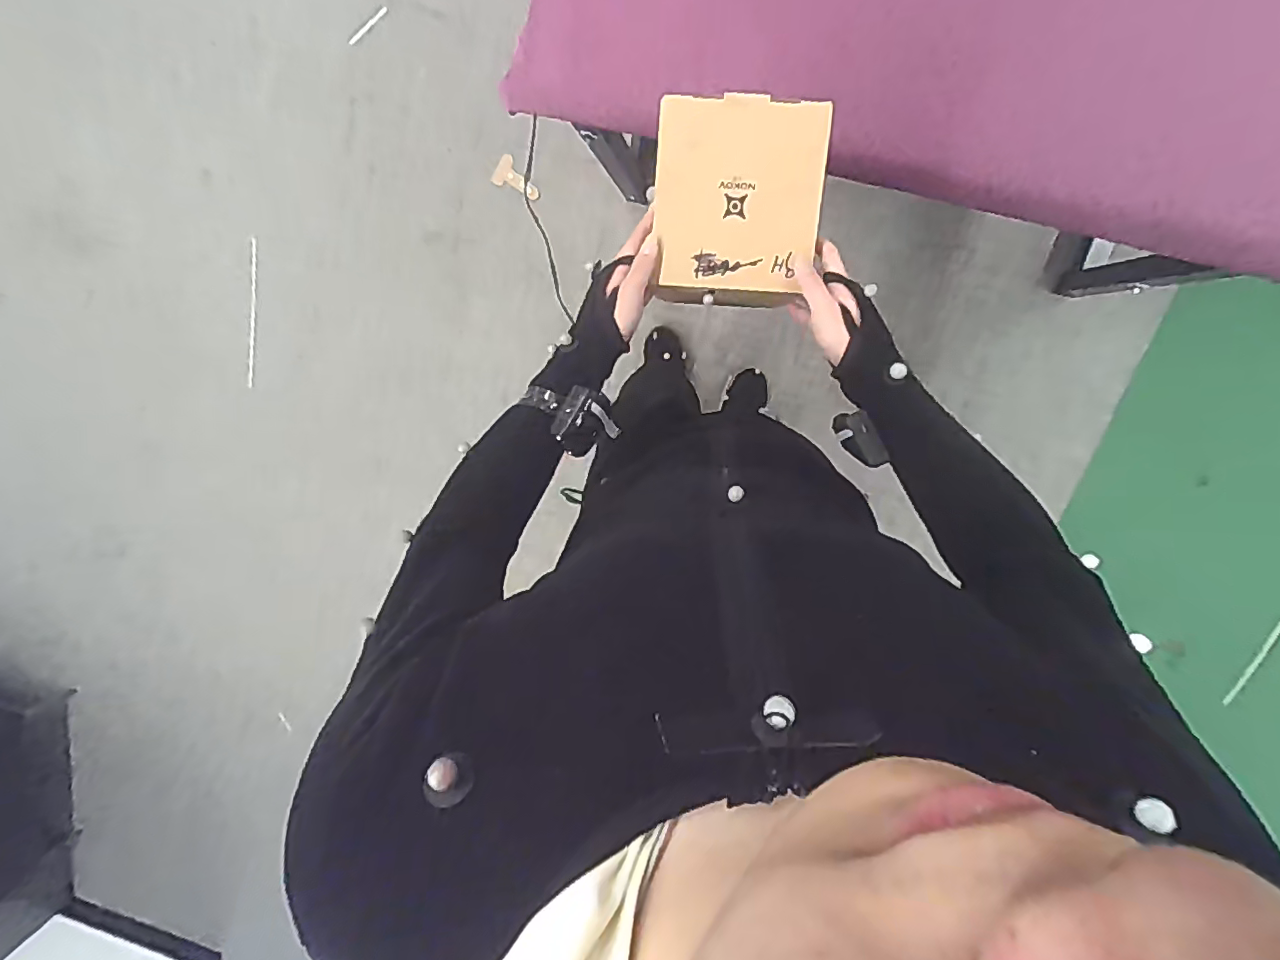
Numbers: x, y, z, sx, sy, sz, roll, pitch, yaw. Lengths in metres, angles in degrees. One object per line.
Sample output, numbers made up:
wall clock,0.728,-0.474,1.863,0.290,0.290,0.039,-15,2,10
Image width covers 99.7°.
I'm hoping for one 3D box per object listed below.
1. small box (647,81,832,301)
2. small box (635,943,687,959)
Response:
small box,0.098,-0.306,0.608,0.168,0.176,0.179,5,104,3
small box,0.046,1.273,1.287,0.168,0.176,0.179,19,106,3
